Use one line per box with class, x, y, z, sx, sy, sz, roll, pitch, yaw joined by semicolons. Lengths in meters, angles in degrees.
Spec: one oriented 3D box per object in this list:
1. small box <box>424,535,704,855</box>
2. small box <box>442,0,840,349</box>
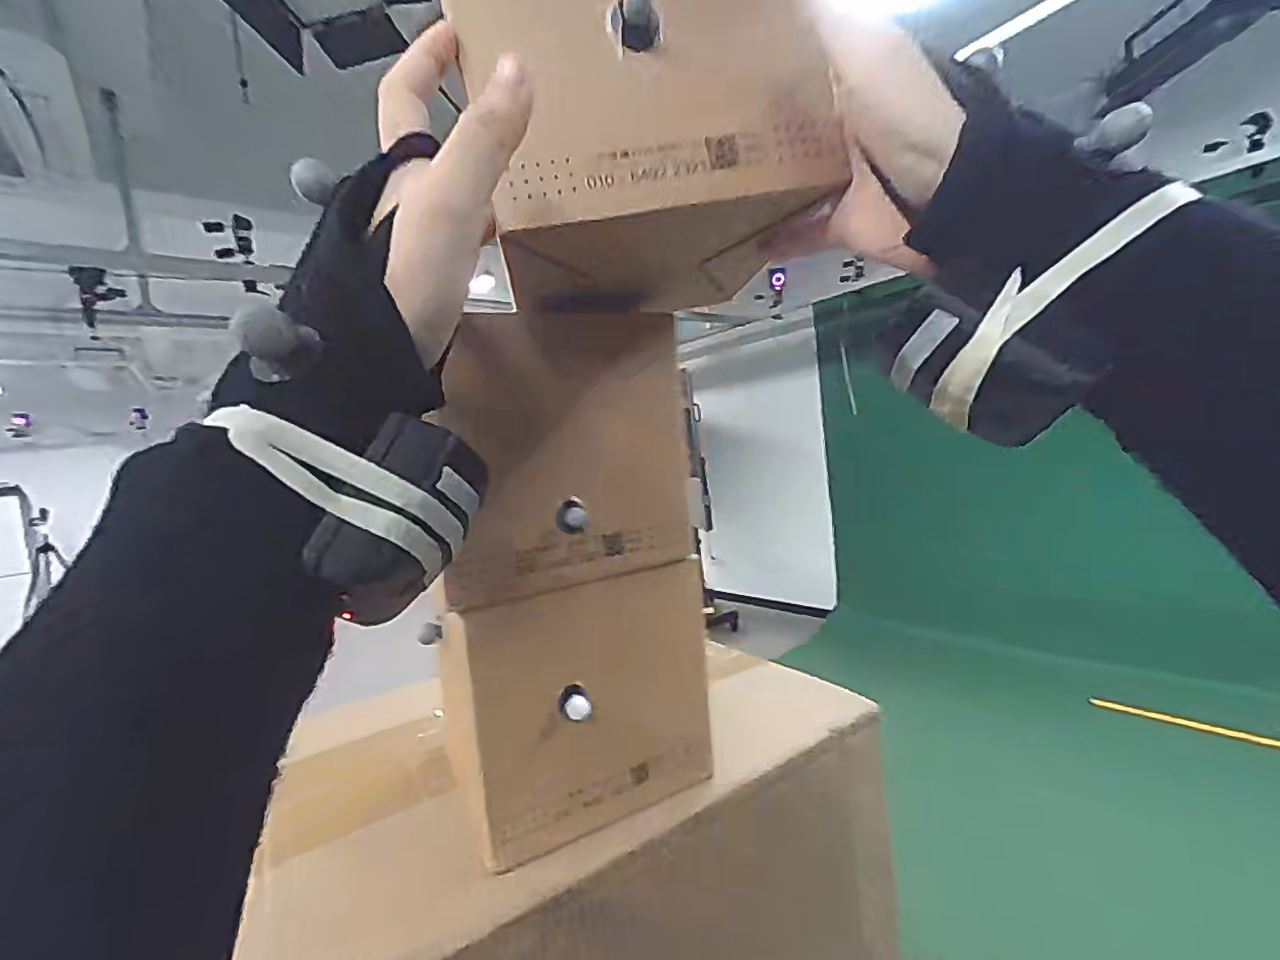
small box;-0.064;0.150;0.426;0.168;0.176;0.179;-8;6;-27
small box;-0.007;-0.190;0.317;0.168;0.176;0.179;-13;2;-8
